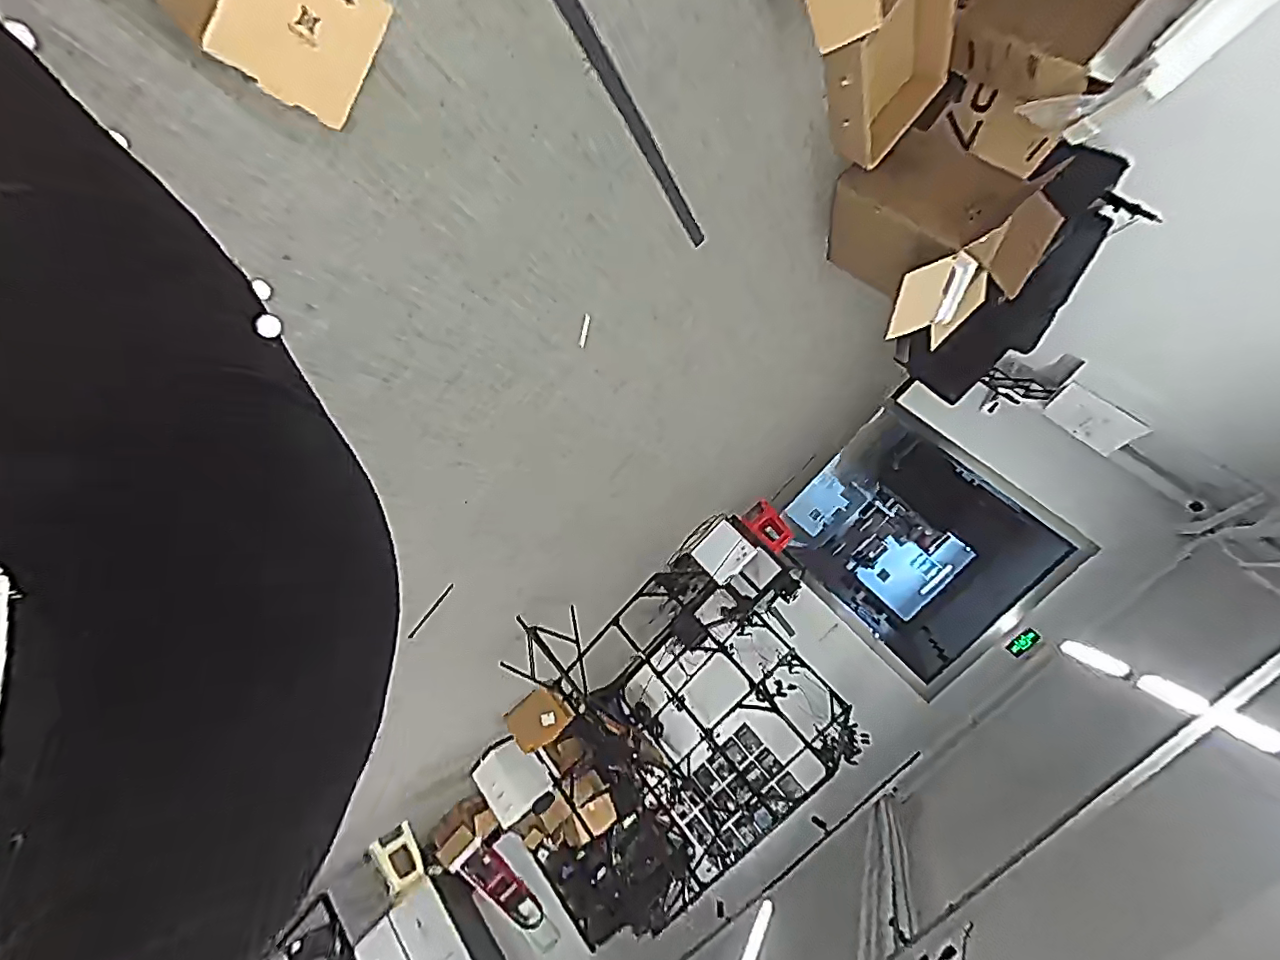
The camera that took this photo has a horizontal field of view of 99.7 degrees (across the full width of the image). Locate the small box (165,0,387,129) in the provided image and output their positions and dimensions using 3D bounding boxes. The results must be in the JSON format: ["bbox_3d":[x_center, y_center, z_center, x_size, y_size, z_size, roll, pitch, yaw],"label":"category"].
[{"bbox_3d":[-0.472,-0.612,0.695,0.179,0.176,0.168,-51,157,17],"label":"small box"}]
